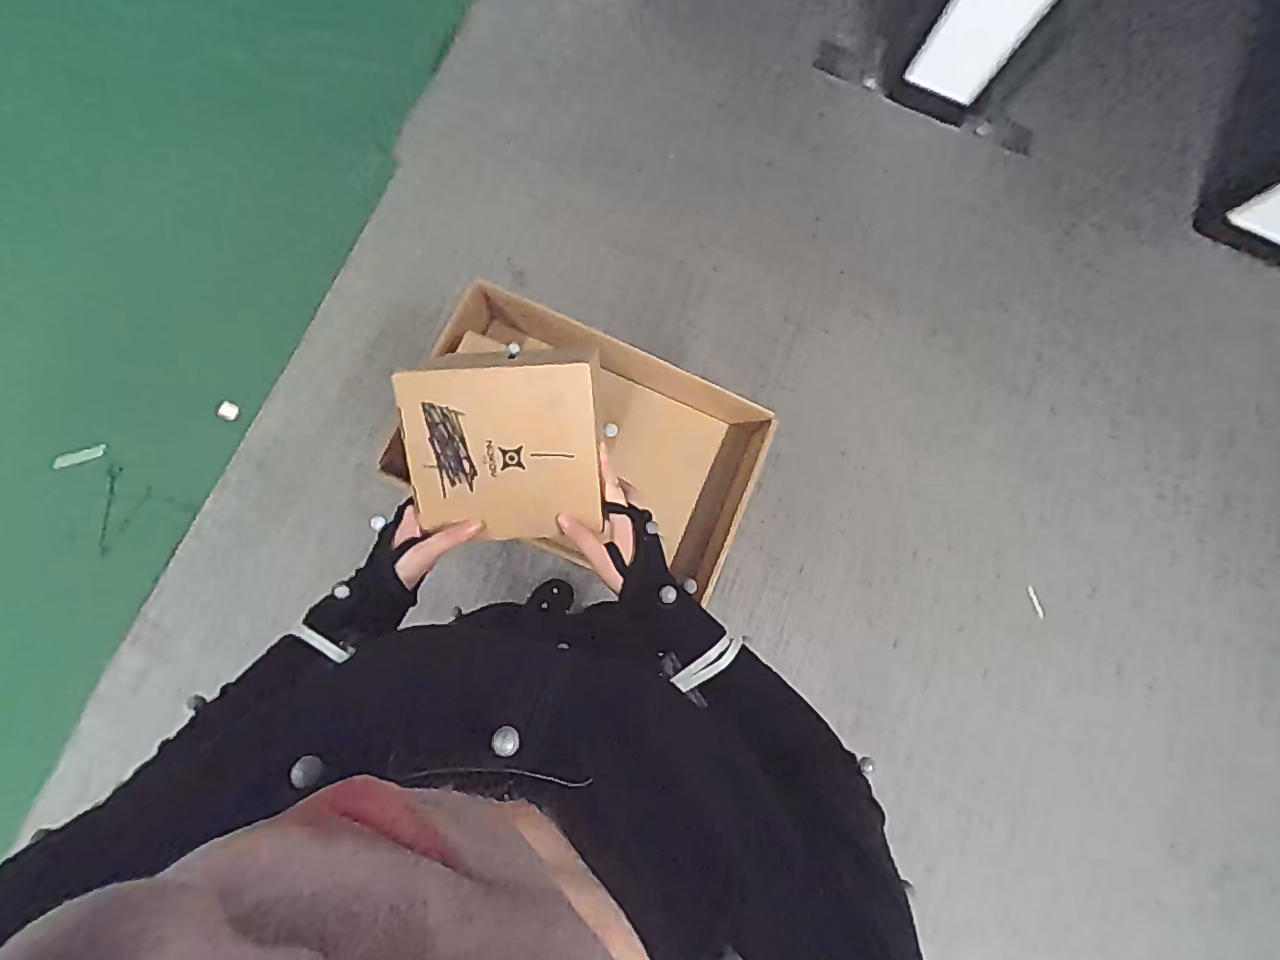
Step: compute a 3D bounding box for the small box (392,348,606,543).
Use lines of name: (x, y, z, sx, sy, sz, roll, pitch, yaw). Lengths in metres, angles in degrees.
small box: (-0.128, -0.046, 0.567, 0.179, 0.176, 0.168, -3, 109, -2)
